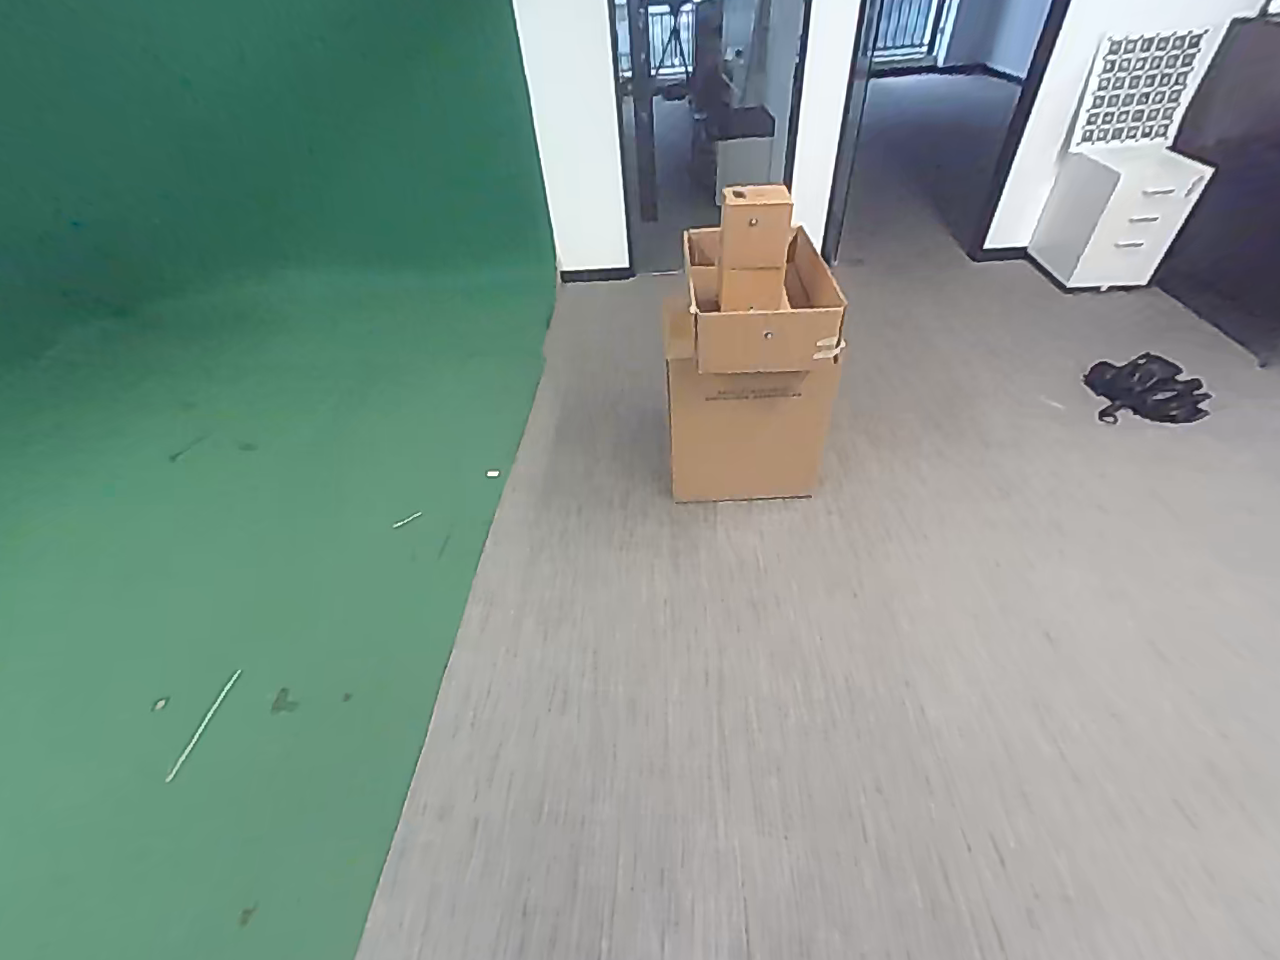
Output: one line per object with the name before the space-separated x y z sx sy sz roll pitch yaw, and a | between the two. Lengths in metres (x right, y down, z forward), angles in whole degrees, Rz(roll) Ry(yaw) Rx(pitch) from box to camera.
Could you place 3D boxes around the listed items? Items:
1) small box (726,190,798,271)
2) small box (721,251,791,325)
small box | 0.334 -0.697 1.514 0.179 0.176 0.168 1 42 5
small box | 0.341 -0.578 1.627 0.179 0.176 0.168 0 41 2
